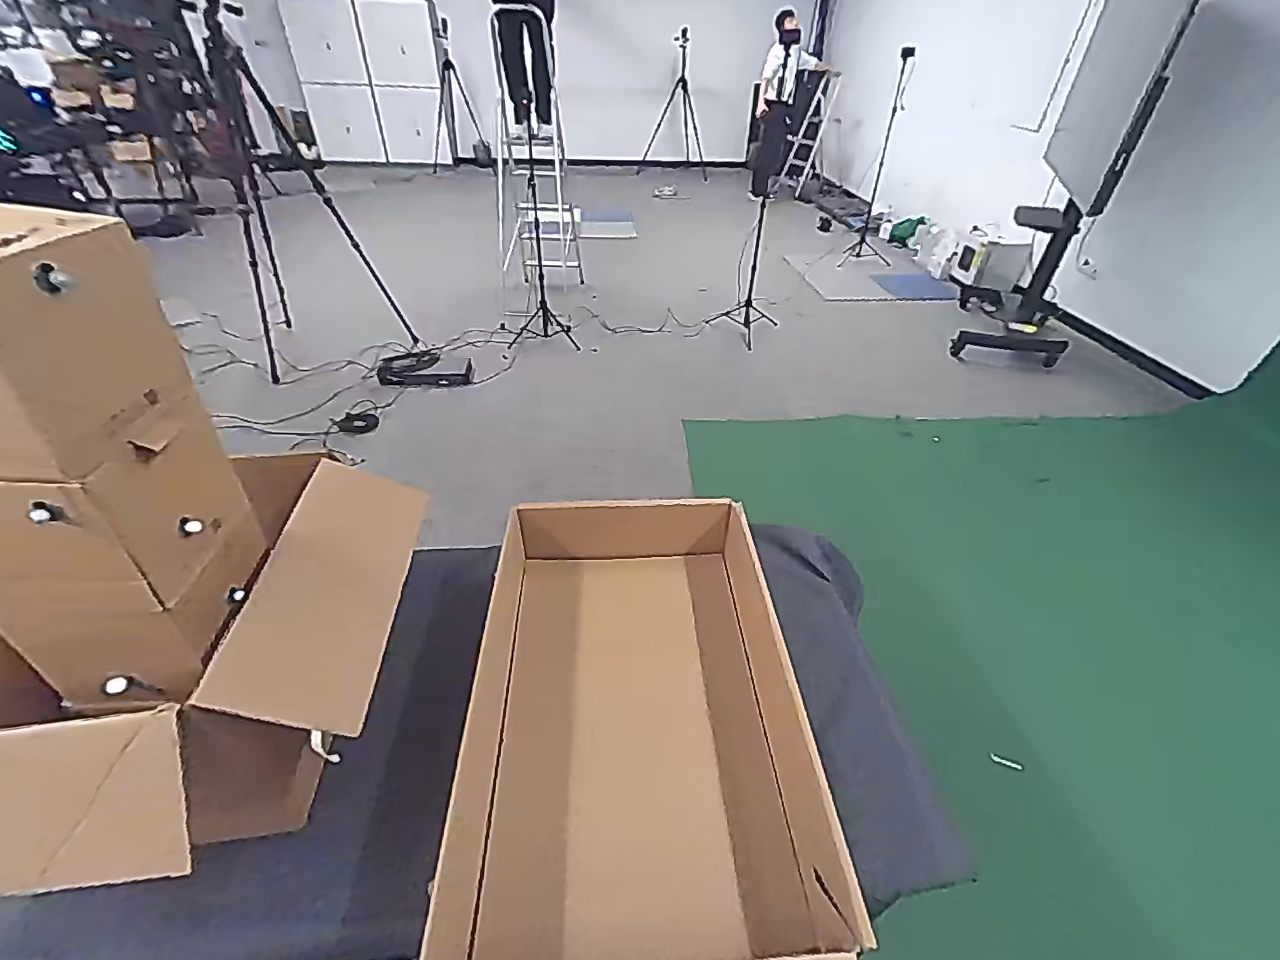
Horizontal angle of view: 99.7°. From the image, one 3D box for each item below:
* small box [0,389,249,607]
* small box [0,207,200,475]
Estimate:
[{"bbox_3d":[-0.550,0.014,0.549,0.179,0.176,0.168,3,38,-8],"label":"small box"},{"bbox_3d":[-0.533,-0.118,0.452,0.179,0.176,0.168,3,38,-6],"label":"small box"}]
